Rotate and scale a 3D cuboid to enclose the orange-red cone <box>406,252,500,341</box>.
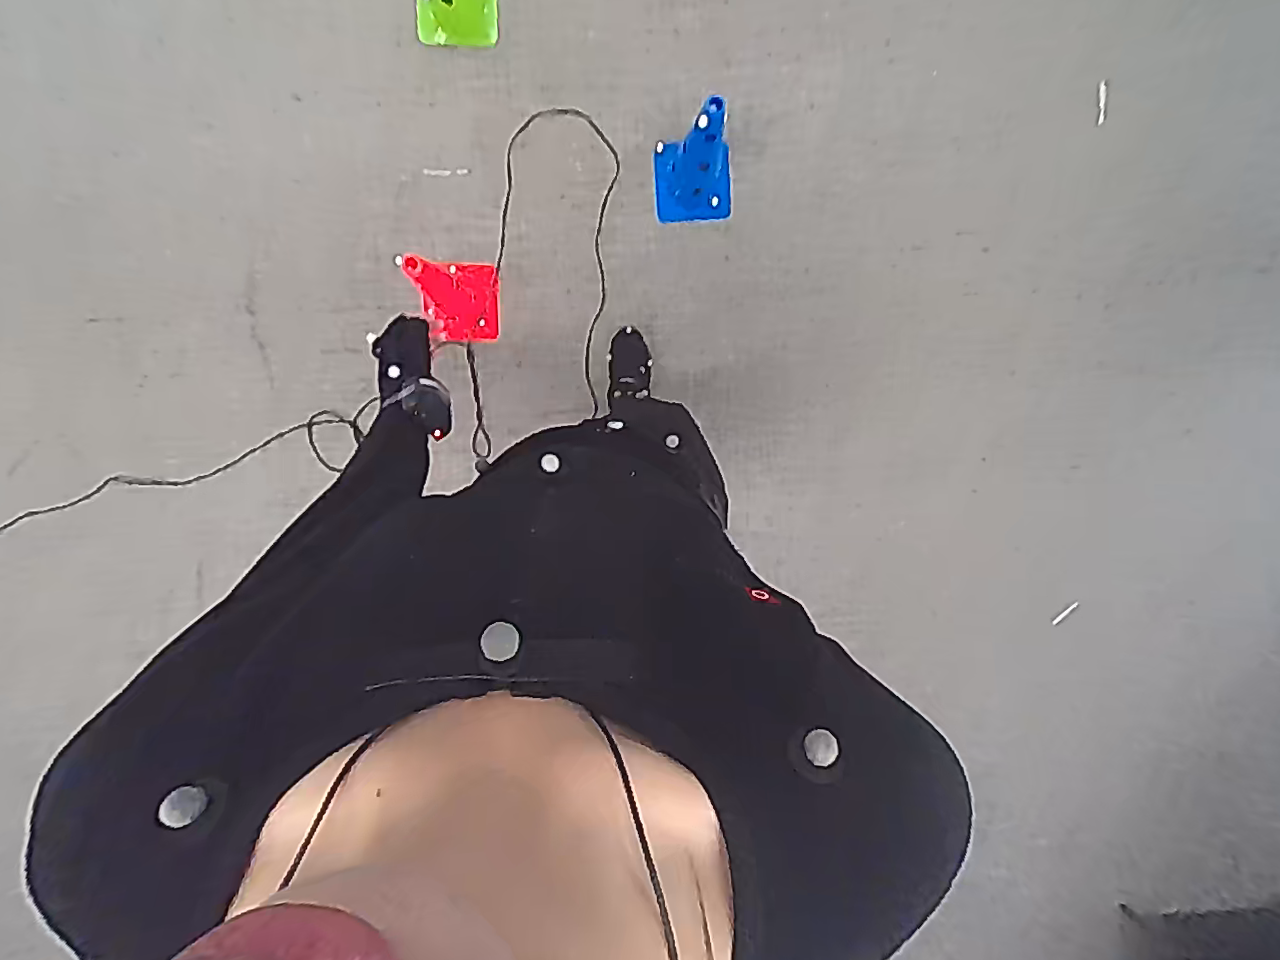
[{"bbox_3d":[-0.463,-0.457,1.258,0.198,0.360,0.199,1,95,-3],"label":"orange-red cone"}]

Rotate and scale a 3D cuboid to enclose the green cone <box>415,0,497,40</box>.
[{"bbox_3d":[-0.455,-1.184,1.173,0.200,0.368,0.202,-1,97,-2],"label":"green cone"}]
